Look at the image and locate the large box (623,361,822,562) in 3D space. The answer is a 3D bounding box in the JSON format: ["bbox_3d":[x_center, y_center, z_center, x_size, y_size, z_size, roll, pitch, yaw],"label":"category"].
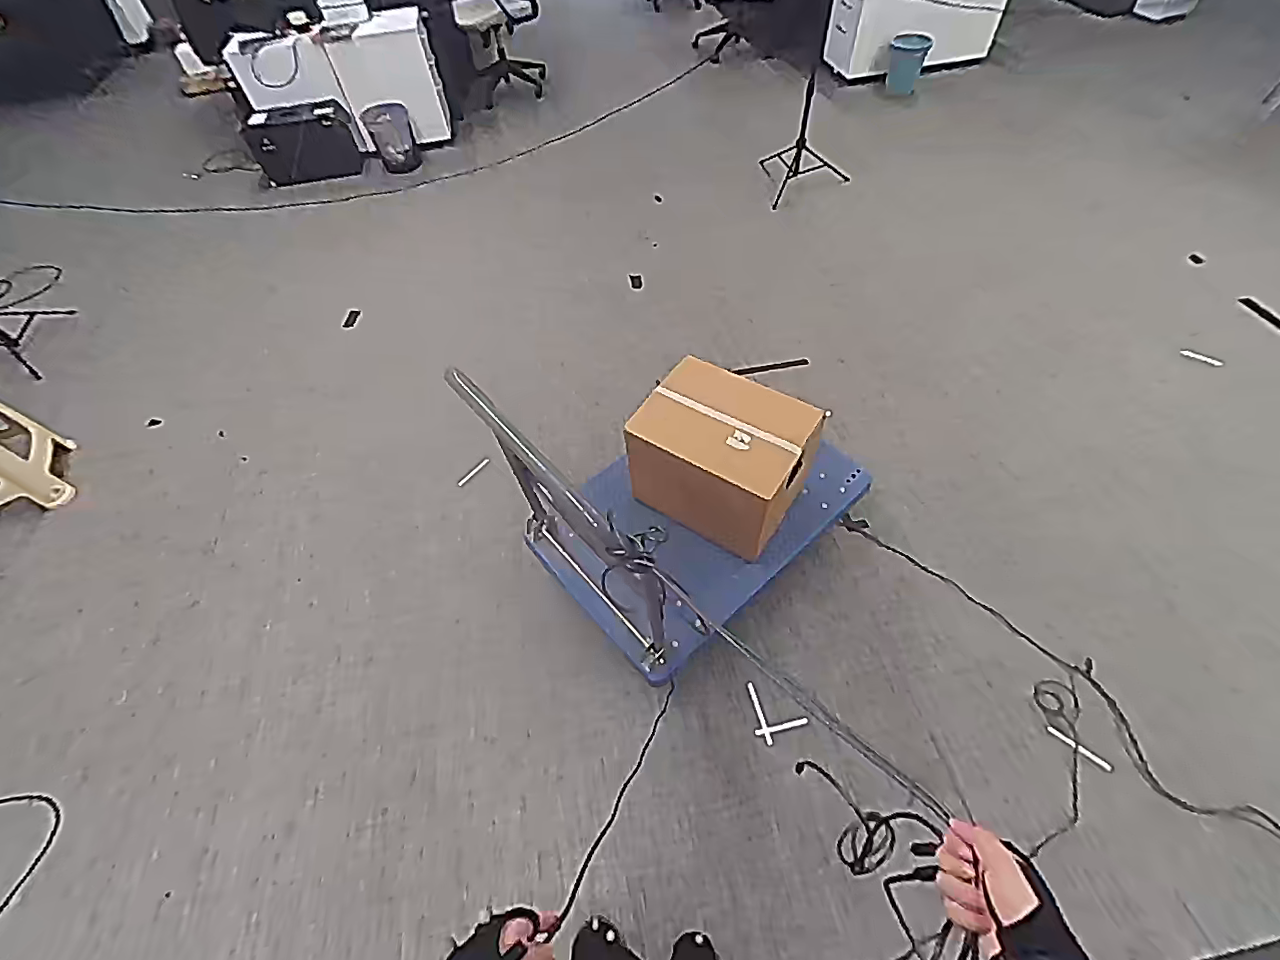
[{"bbox_3d":[0.207,-0.051,1.447,0.408,0.320,0.320,28,61,21],"label":"large box"}]
